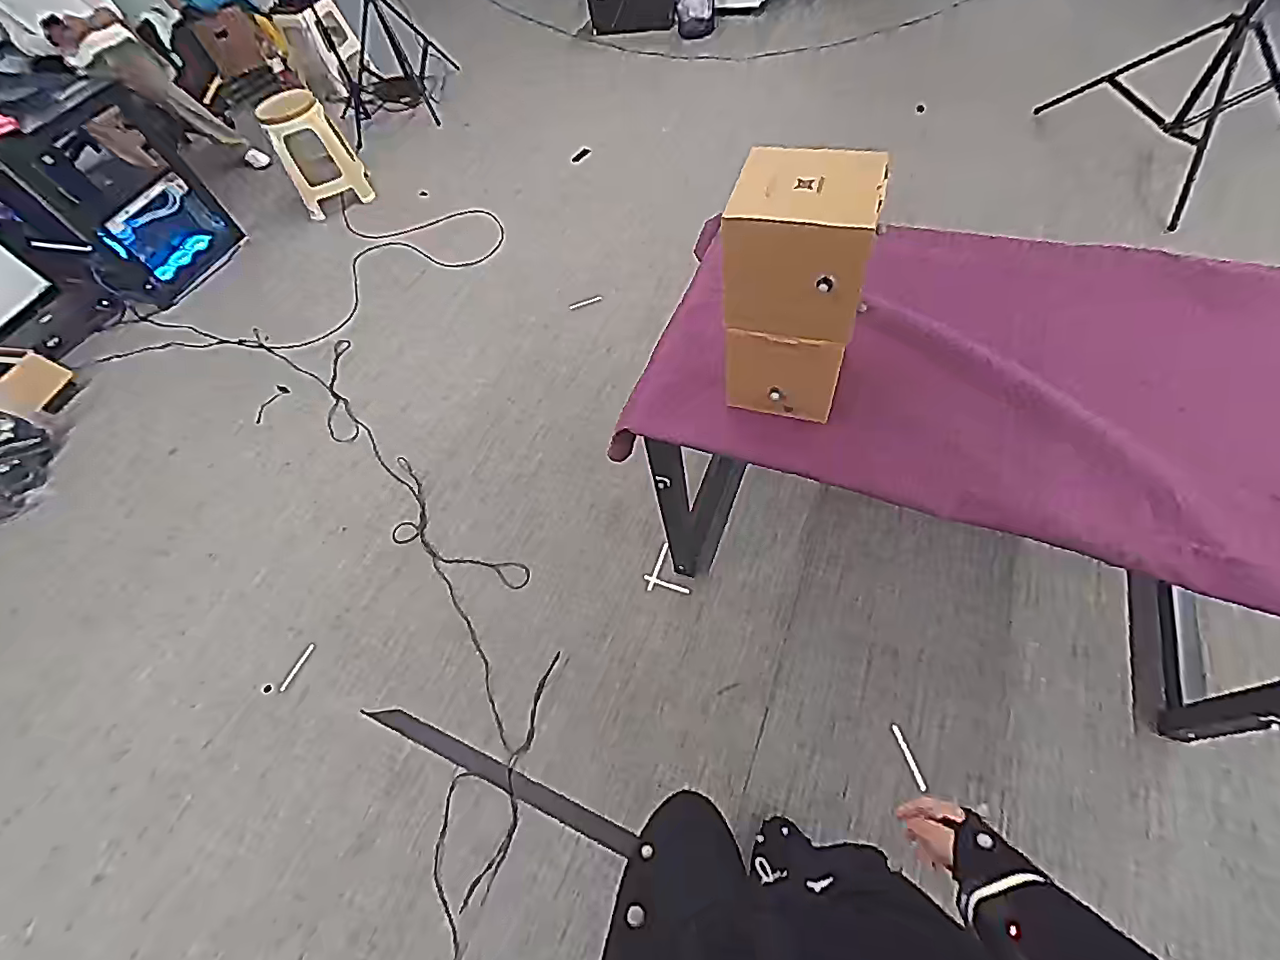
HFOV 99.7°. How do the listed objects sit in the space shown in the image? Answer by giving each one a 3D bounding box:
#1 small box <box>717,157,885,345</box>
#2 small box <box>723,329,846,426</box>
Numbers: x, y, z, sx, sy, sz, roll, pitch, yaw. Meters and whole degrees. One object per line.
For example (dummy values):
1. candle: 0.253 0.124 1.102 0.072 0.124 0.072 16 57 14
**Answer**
1. small box: 0.210 -0.303 0.728 0.179 0.176 0.168 12 59 17
2. small box: 0.233 -0.216 0.862 0.168 0.176 0.179 13 61 18
